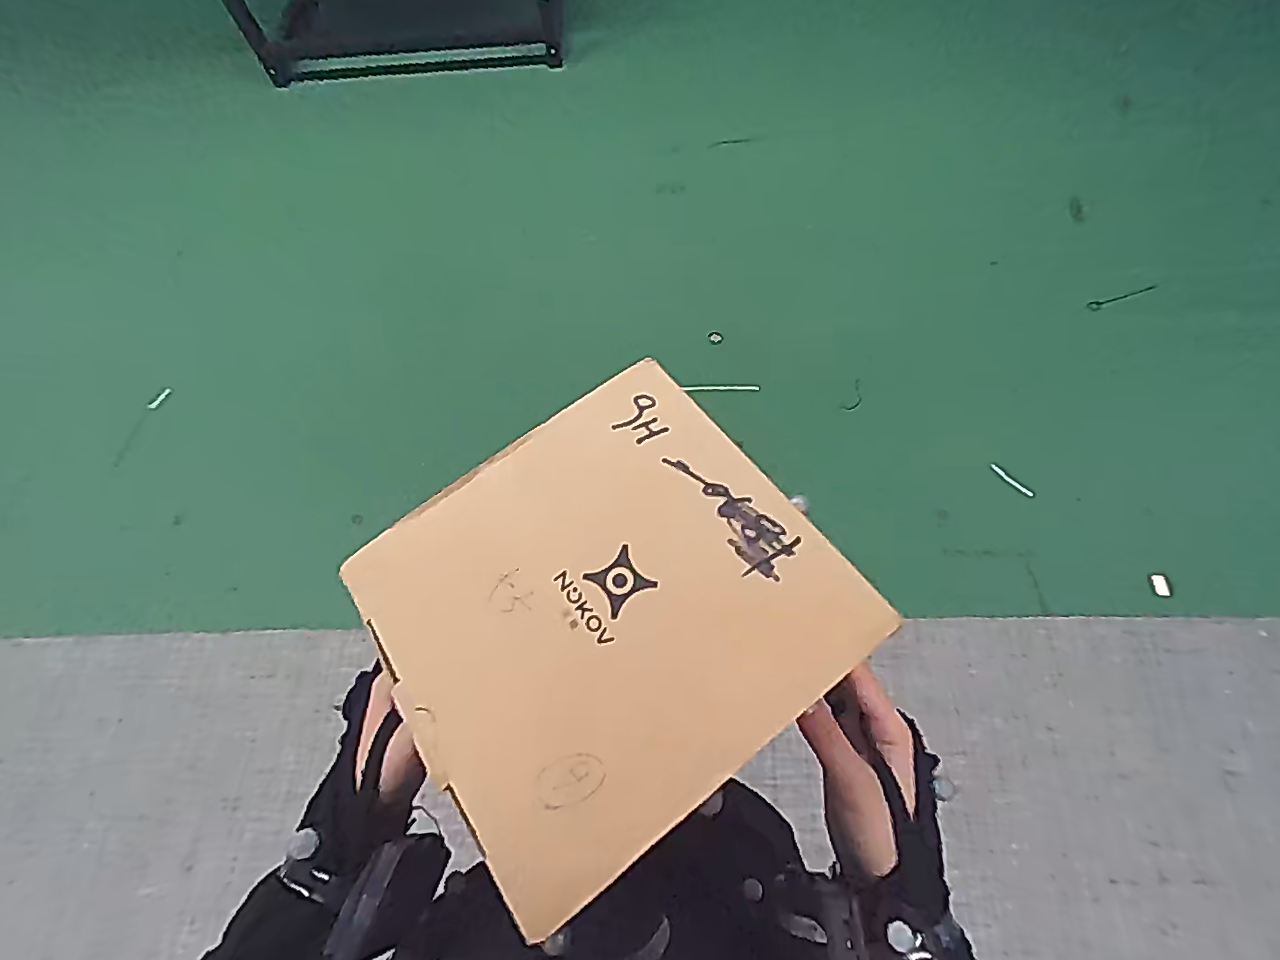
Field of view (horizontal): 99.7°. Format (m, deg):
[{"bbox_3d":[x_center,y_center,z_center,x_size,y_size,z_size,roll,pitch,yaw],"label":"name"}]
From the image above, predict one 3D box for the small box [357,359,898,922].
[{"bbox_3d":[-0.005,0.077,0.297,0.179,0.176,0.168,-35,67,-10],"label":"small box"}]
